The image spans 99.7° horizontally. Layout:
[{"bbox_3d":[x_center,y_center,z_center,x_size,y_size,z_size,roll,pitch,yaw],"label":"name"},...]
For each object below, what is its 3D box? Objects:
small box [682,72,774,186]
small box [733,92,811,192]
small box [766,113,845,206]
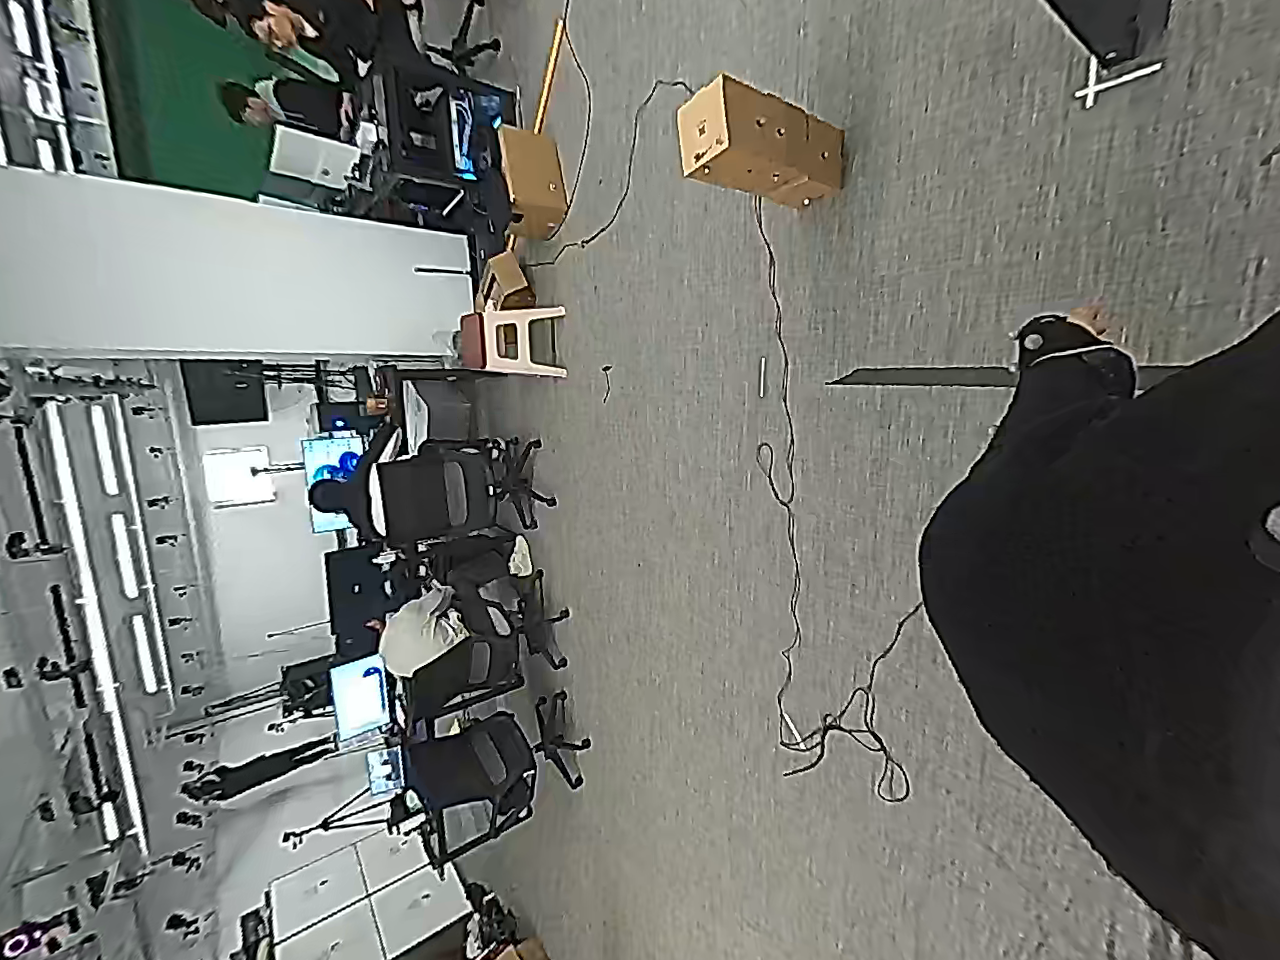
[{"bbox_3d":[0.232,-0.909,1.418,0.168,0.176,0.179,-1,95,53],"label":"small box"},{"bbox_3d":[0.363,-0.932,1.516,0.168,0.176,0.179,3,97,52],"label":"small box"},{"bbox_3d":[0.494,-0.944,1.611,0.168,0.176,0.179,8,104,53],"label":"small box"}]
